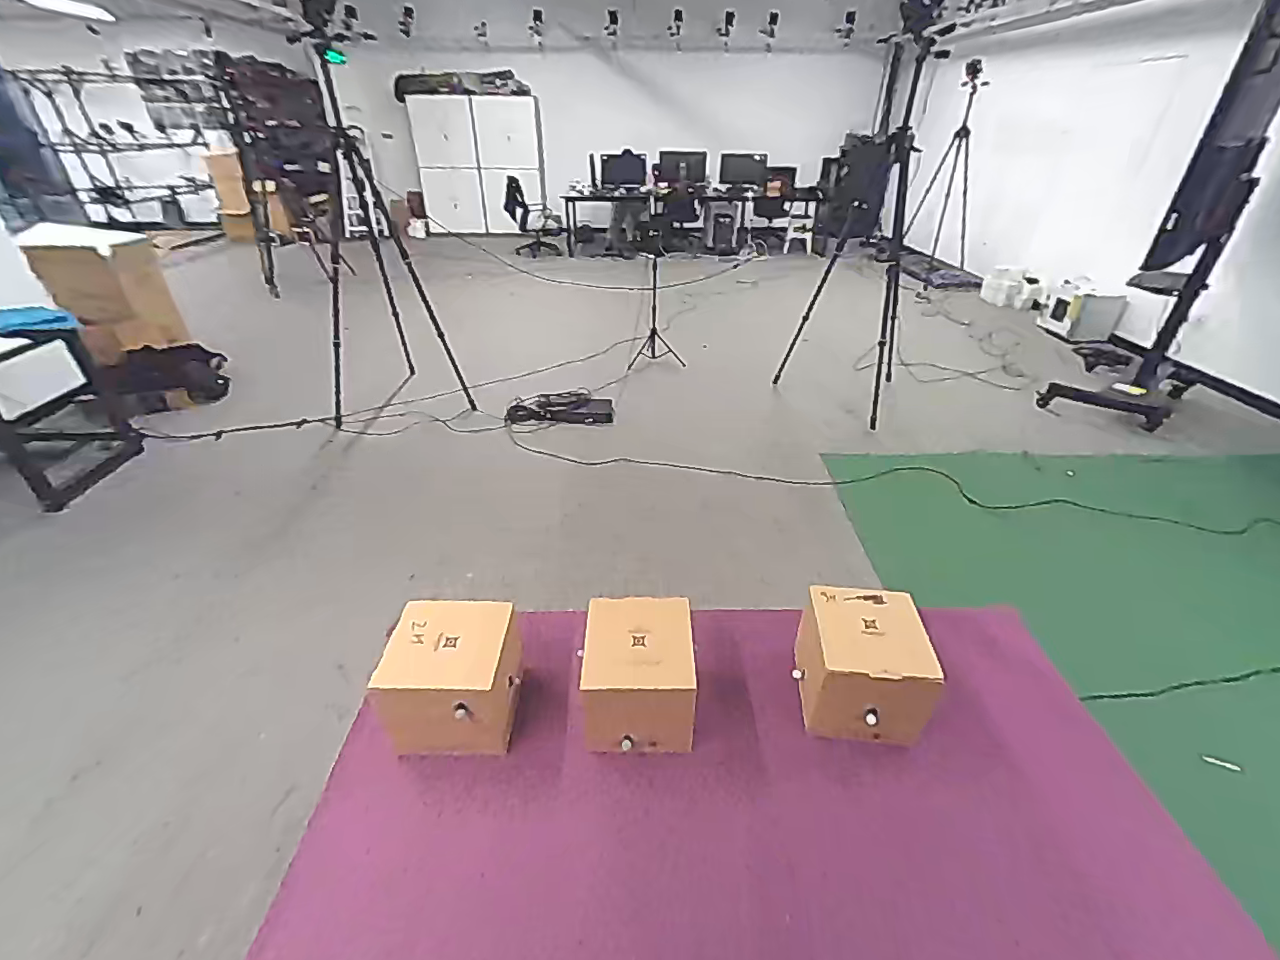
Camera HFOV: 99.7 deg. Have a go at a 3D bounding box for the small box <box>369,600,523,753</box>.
[{"bbox_3d":[-0.291,0.312,0.860,0.179,0.176,0.168,0,33,1],"label":"small box"}]

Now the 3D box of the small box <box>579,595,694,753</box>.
[{"bbox_3d":[-0.003,0.308,0.868,0.168,0.176,0.179,0,34,1],"label":"small box"}]

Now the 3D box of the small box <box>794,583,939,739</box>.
[{"bbox_3d":[0.353,0.293,0.880,0.168,0.176,0.179,4,35,5],"label":"small box"}]
